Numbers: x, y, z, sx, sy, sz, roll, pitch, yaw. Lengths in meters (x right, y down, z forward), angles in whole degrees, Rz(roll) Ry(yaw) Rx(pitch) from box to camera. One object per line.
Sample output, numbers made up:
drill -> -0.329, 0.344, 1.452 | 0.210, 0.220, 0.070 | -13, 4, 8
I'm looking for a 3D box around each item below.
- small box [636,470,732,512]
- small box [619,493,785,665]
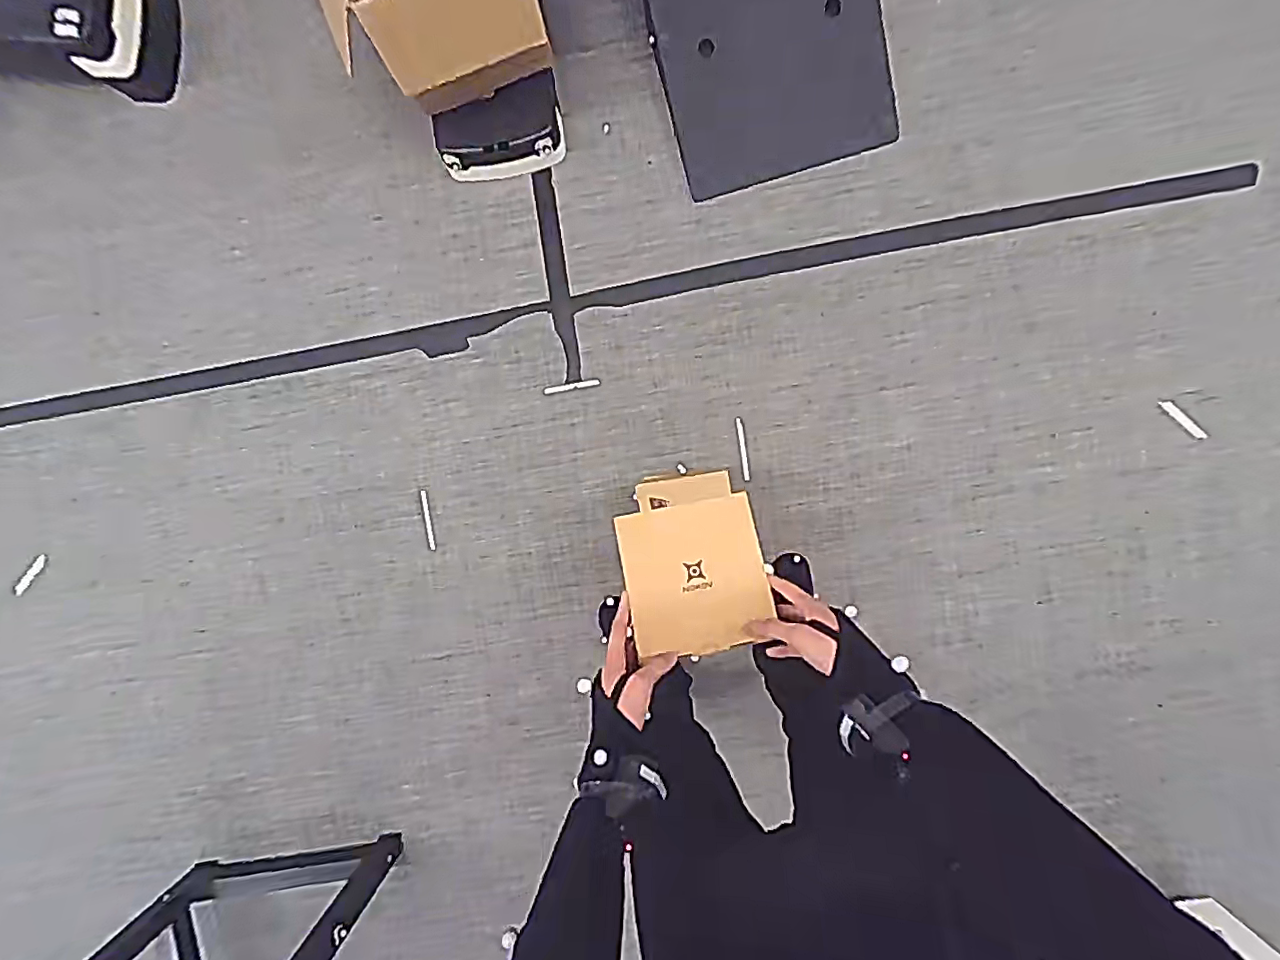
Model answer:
small box -> 0.093, 0.074, 1.067 | 0.179, 0.176, 0.168 | -9, 92, 2
small box -> 0.069, 0.133, 0.700 | 0.168, 0.176, 0.179 | -11, 75, -1
